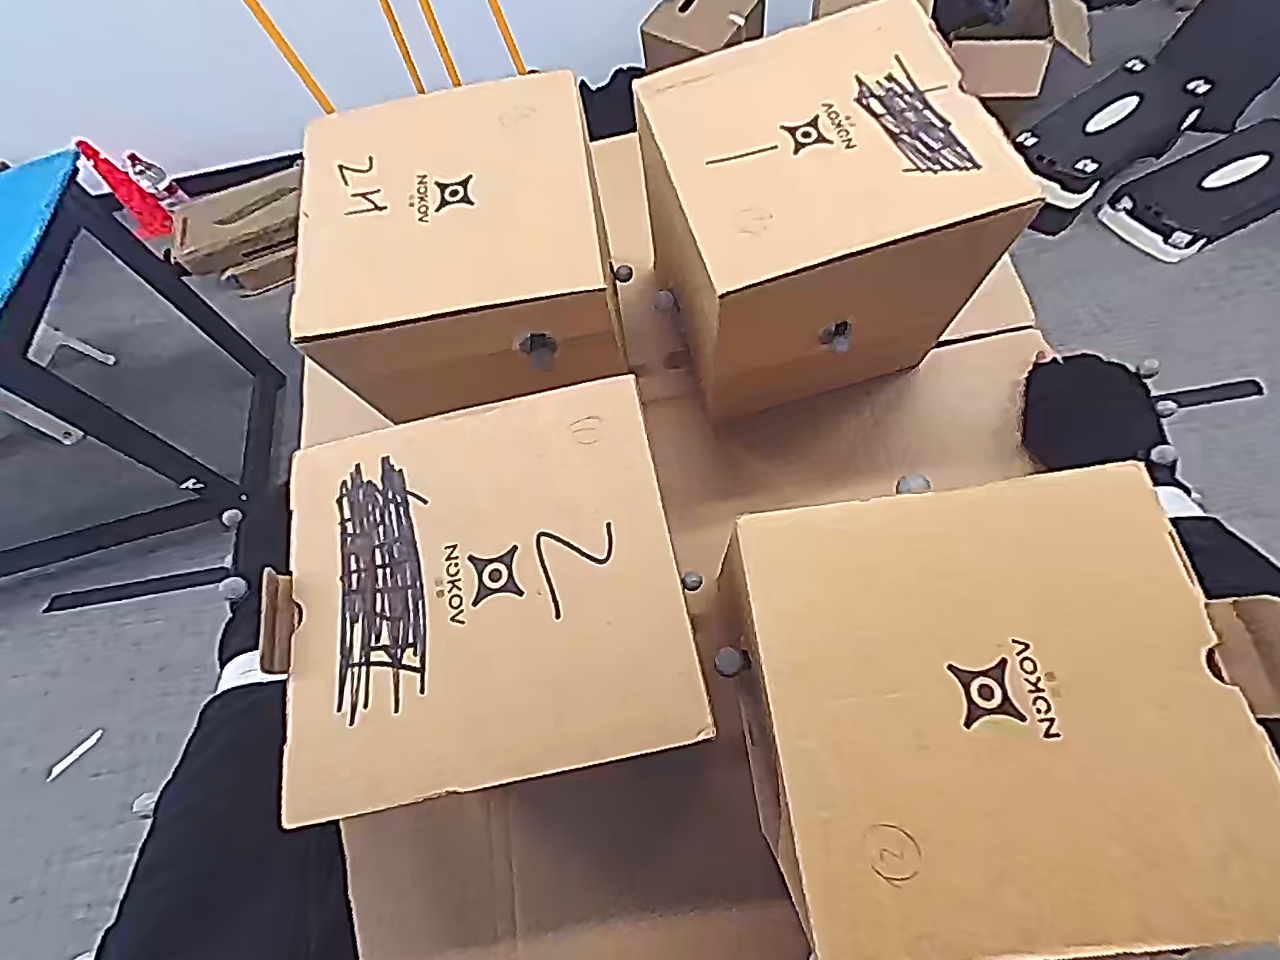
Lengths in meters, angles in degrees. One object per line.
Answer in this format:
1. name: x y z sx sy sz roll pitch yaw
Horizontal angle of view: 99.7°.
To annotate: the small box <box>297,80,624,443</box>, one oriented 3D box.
1. small box: -0.109 -0.140 0.398 0.179 0.176 0.168 -9 71 3
